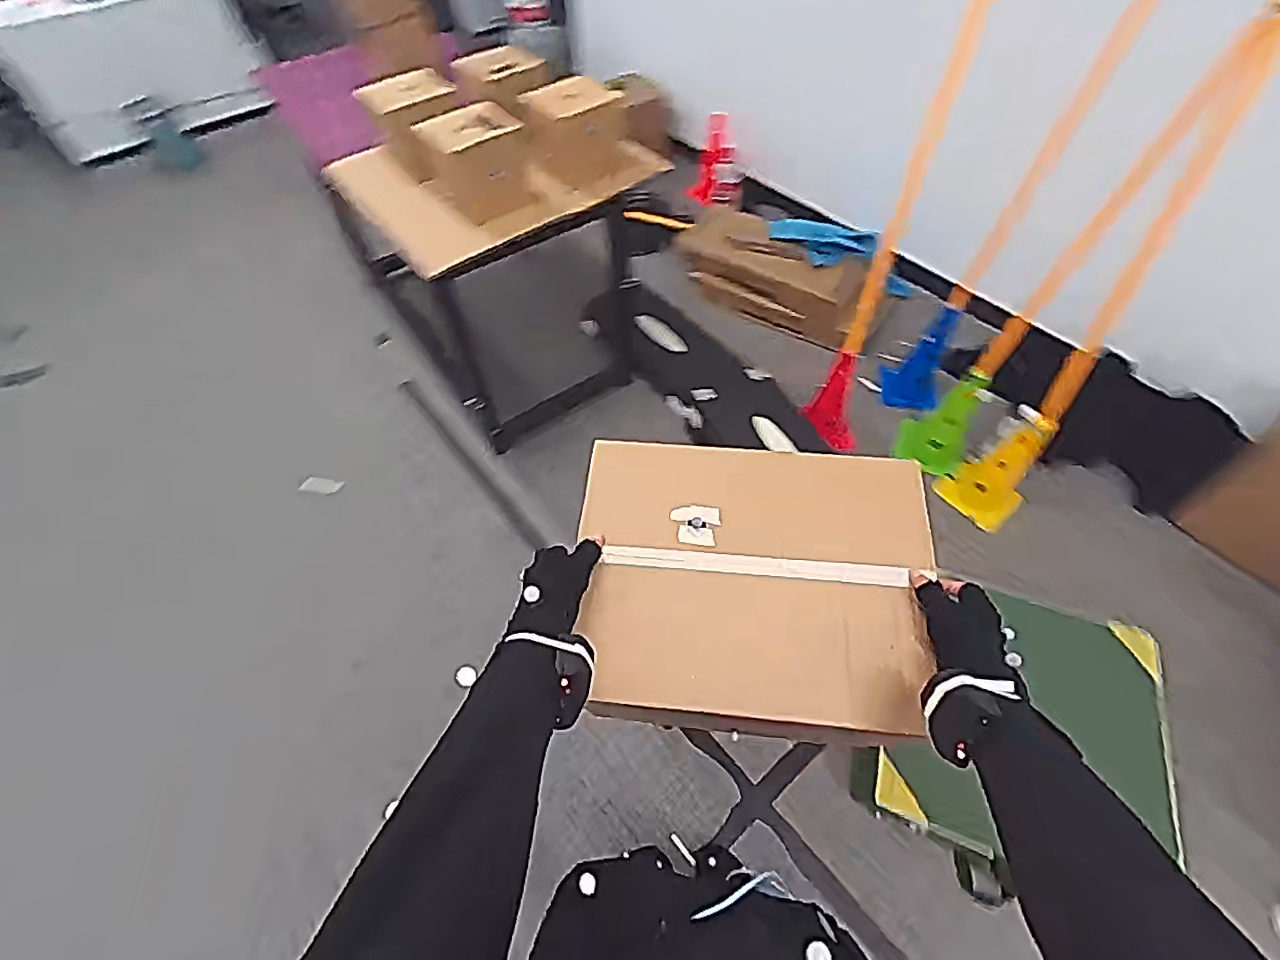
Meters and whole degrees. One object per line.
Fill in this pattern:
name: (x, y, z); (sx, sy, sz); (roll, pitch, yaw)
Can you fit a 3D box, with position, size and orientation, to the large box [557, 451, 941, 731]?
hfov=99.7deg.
large box: (0.128, 0.171, 0.757); (0.408, 0.320, 0.320); (3, 63, 5)
